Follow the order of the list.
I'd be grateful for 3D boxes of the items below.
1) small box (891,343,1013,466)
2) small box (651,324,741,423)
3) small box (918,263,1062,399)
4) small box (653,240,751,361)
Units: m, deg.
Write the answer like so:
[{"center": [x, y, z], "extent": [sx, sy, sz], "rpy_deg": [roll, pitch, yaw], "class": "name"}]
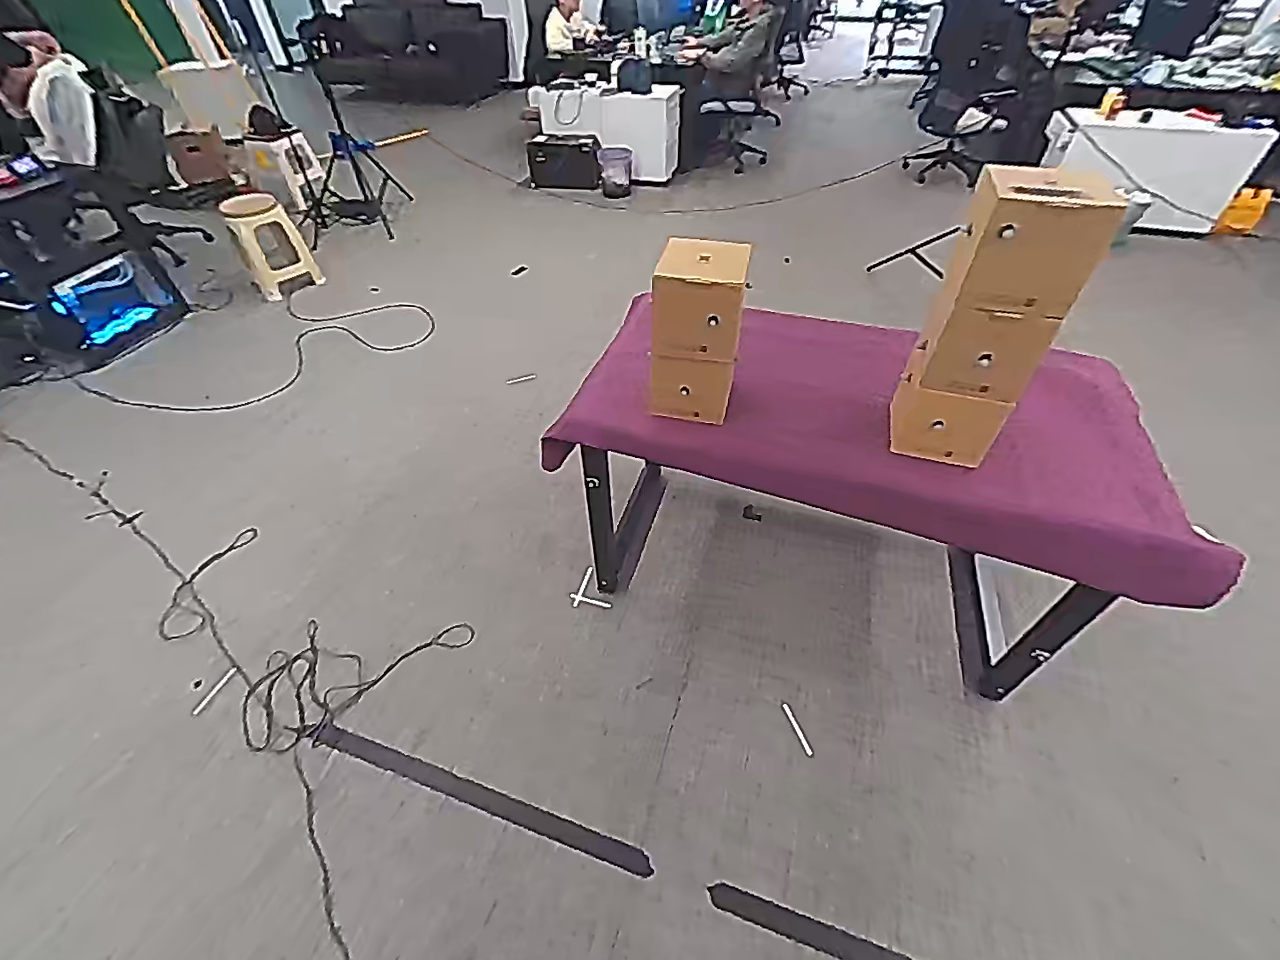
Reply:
[{"center": [0.625, -0.153, 1.103], "extent": [0.168, 0.176, 0.179], "rpy_deg": [12, 47, 13], "class": "small box"}, {"center": [0.123, -0.248, 1.199], "extent": [0.168, 0.176, 0.179], "rpy_deg": [10, 46, 10], "class": "small box"}, {"center": [0.624, -0.270, 0.988], "extent": [0.168, 0.176, 0.179], "rpy_deg": [13, 48, 14], "class": "small box"}, {"center": [0.122, -0.356, 1.077], "extent": [0.168, 0.176, 0.179], "rpy_deg": [9, 46, 8], "class": "small box"}]
